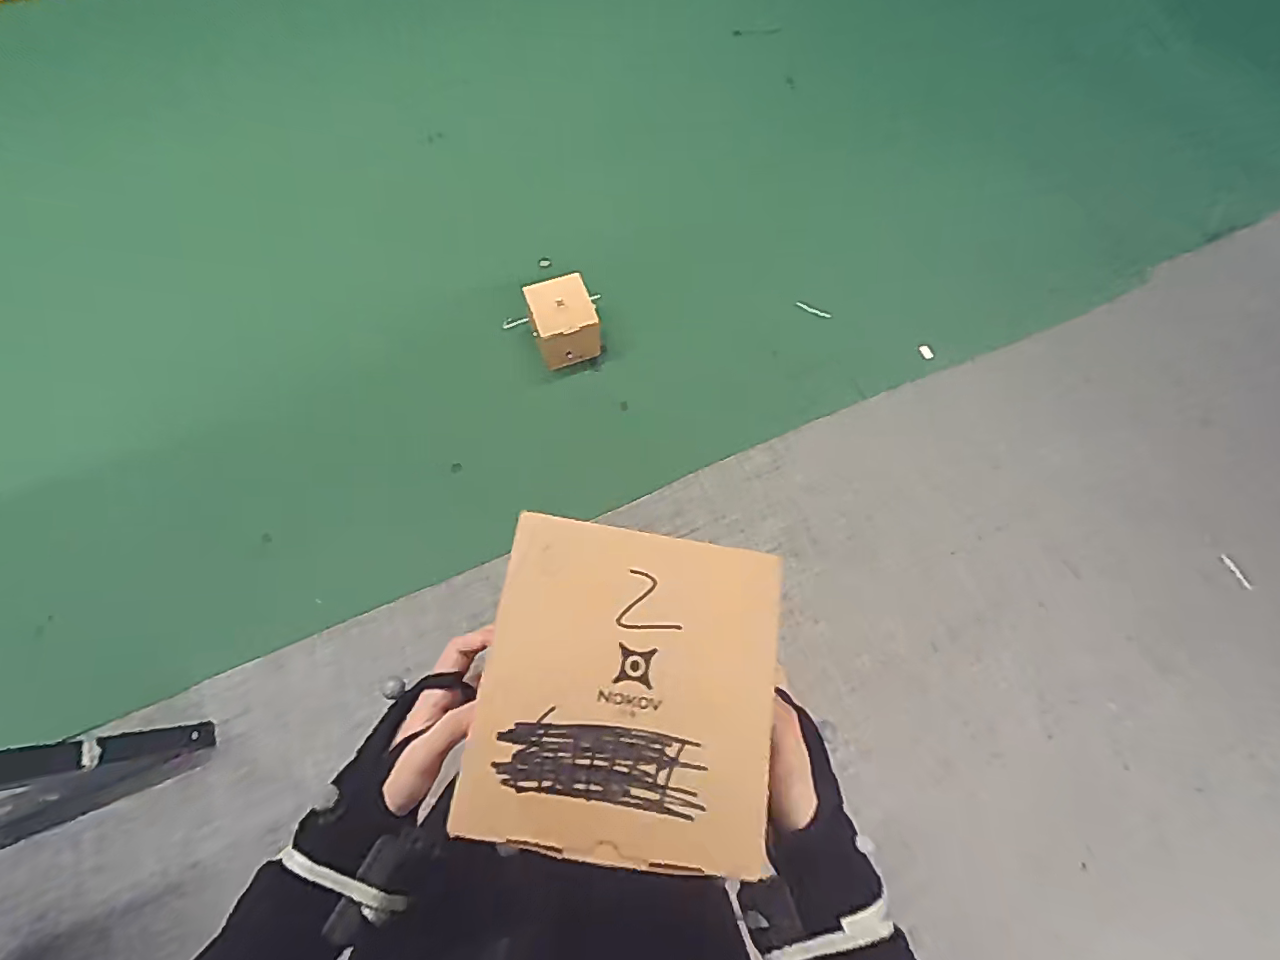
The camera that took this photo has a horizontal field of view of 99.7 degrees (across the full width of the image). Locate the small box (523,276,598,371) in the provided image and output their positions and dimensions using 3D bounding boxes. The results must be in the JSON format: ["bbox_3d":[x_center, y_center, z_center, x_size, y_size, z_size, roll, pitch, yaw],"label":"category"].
[{"bbox_3d":[-0.226,-0.445,1.553,0.168,0.176,0.179,-19,74,-11],"label":"small box"}]
